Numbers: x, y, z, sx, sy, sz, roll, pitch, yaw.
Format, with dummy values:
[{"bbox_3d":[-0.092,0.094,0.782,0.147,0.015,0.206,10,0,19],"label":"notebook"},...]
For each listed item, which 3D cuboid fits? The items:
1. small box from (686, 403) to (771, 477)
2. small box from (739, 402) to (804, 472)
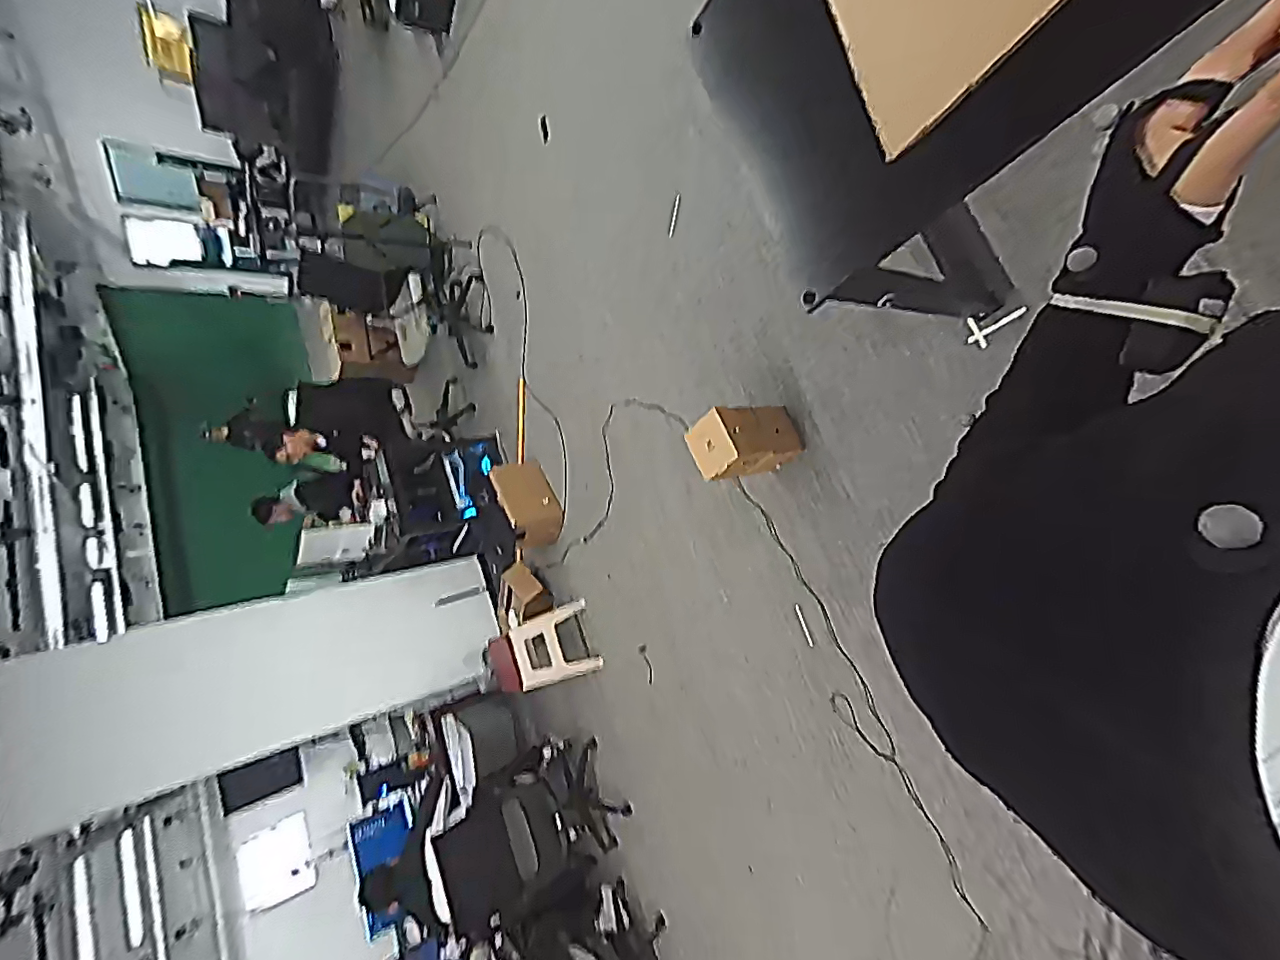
[{"bbox_3d":[0.281,-0.130,1.708,0.168,0.176,0.179,-42,63,46],"label":"small box"},{"bbox_3d":[0.410,-0.146,1.804,0.168,0.176,0.179,-39,68,48],"label":"small box"}]
